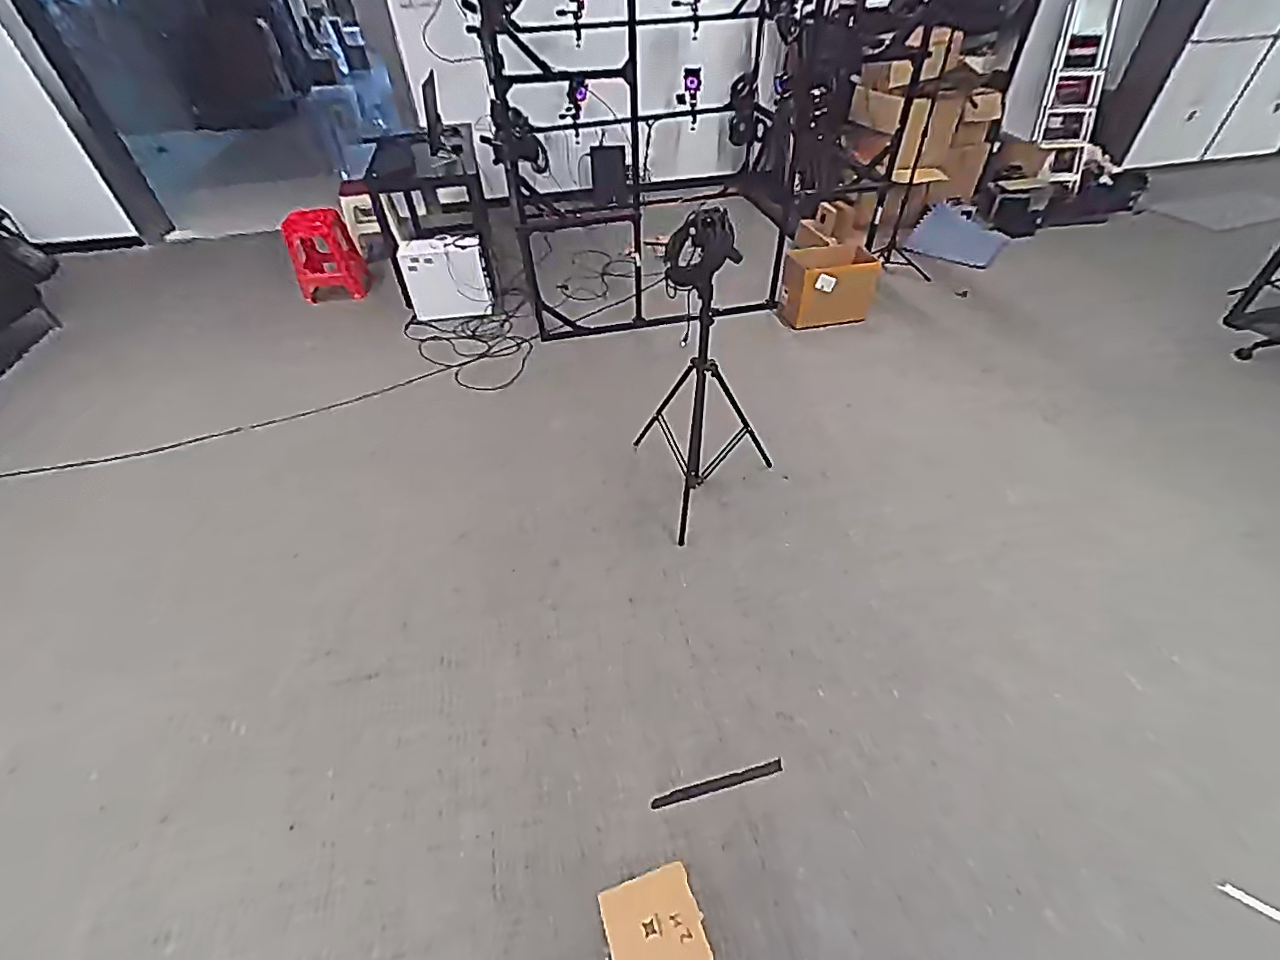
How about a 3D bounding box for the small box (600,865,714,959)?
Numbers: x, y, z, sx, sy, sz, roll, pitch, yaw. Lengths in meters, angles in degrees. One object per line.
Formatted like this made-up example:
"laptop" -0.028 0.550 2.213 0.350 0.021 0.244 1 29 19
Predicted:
"small box" 0.034 0.886 1.044 0.179 0.176 0.168 -15 46 -11
